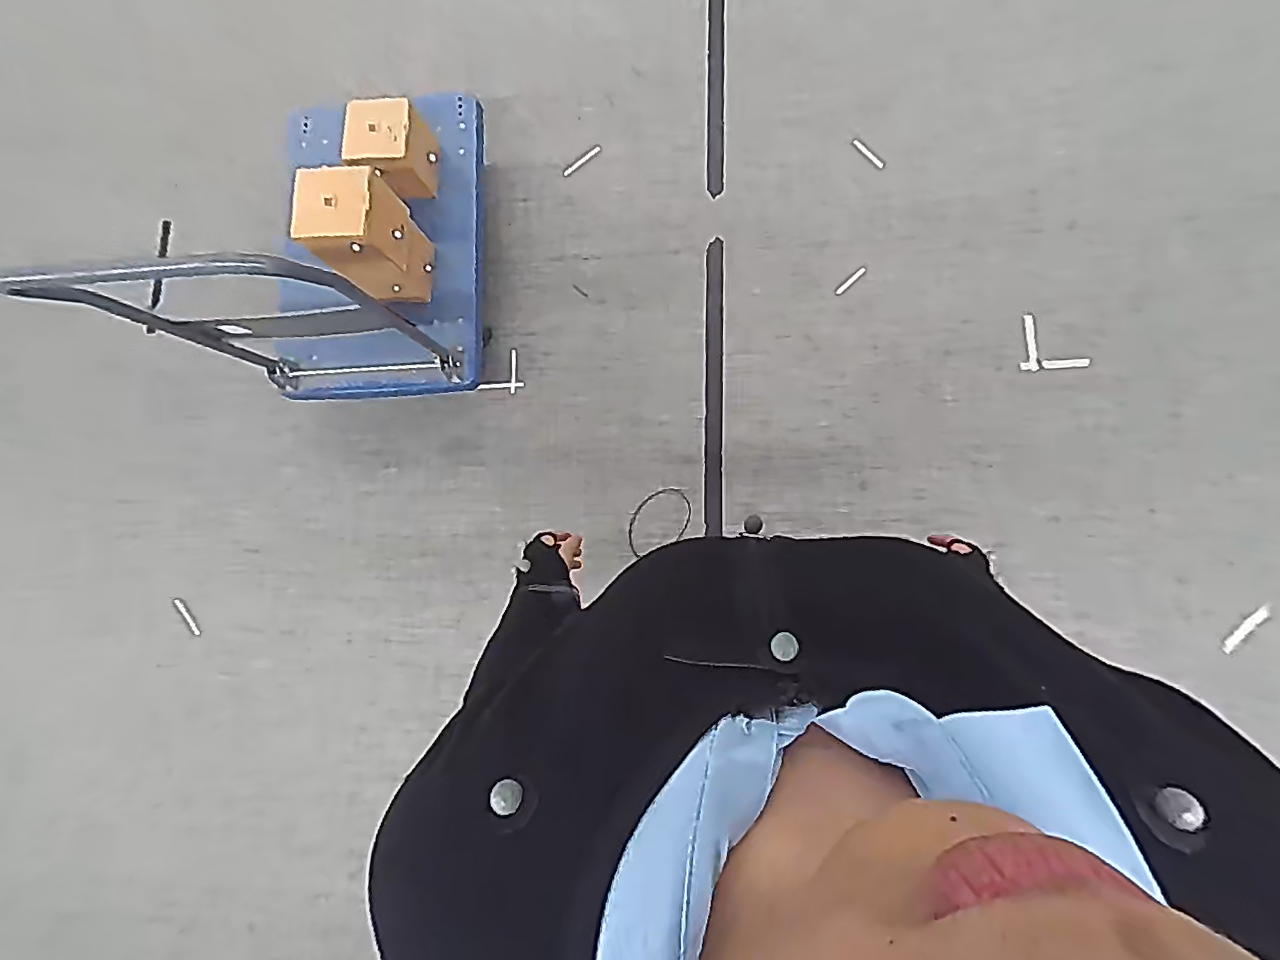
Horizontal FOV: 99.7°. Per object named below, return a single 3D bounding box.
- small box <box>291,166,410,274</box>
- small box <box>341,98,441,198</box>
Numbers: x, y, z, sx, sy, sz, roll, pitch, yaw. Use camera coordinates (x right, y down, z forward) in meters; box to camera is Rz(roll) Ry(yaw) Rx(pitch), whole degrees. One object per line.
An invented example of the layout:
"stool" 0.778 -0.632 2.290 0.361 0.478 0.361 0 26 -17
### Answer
"small box" -0.666 -0.596 1.257 0.179 0.176 0.168 0 83 5
"small box" -0.663 -0.883 1.454 0.179 0.176 0.168 2 84 6
